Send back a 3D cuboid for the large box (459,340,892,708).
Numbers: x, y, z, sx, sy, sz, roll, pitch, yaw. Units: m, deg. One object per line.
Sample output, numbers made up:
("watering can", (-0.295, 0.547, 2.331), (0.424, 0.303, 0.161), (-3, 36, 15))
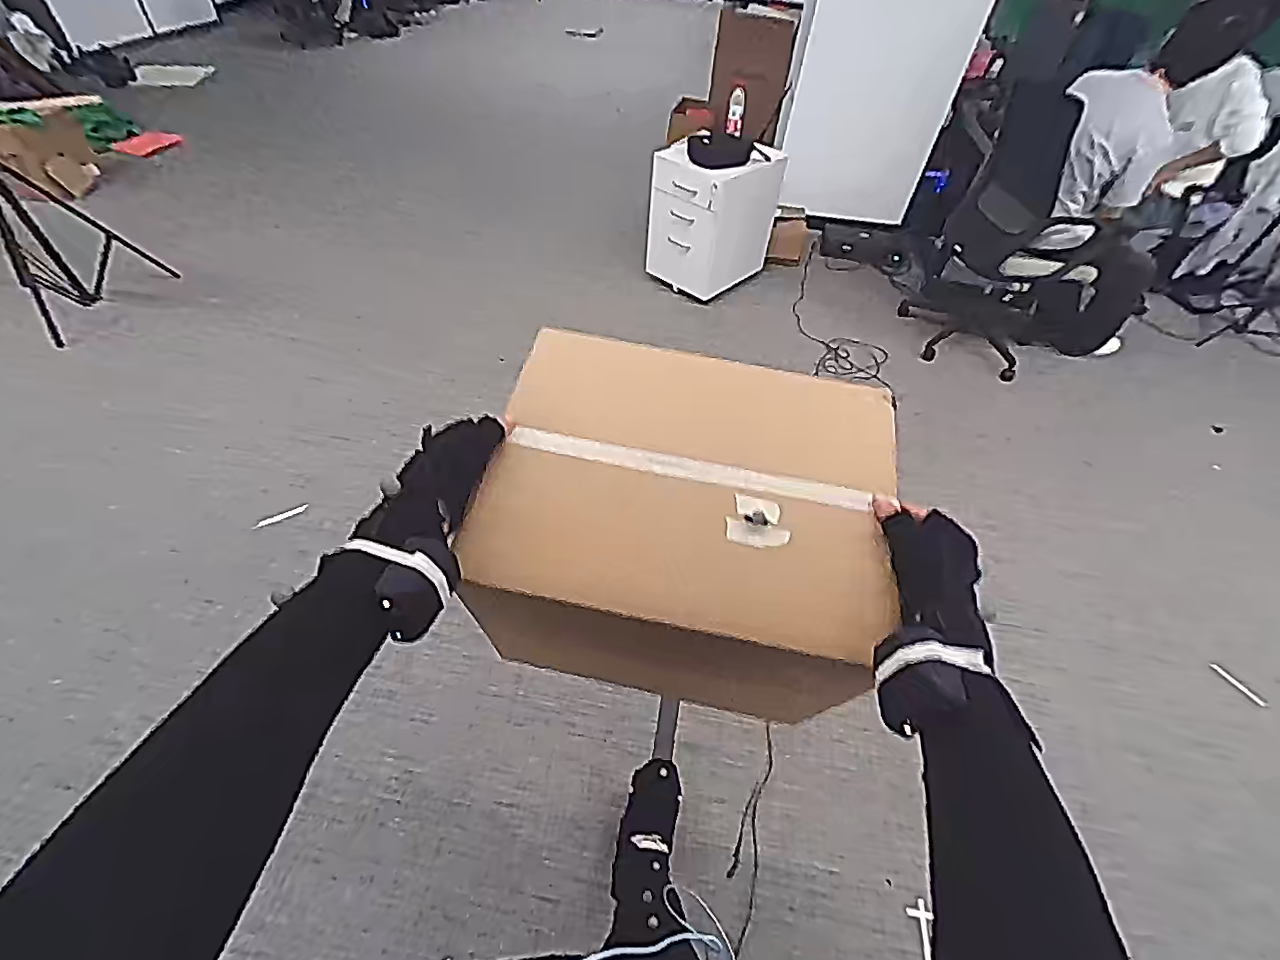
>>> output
("large box", (0.043, 0.069, 0.685), (0.408, 0.320, 0.320), (11, 59, 3))
